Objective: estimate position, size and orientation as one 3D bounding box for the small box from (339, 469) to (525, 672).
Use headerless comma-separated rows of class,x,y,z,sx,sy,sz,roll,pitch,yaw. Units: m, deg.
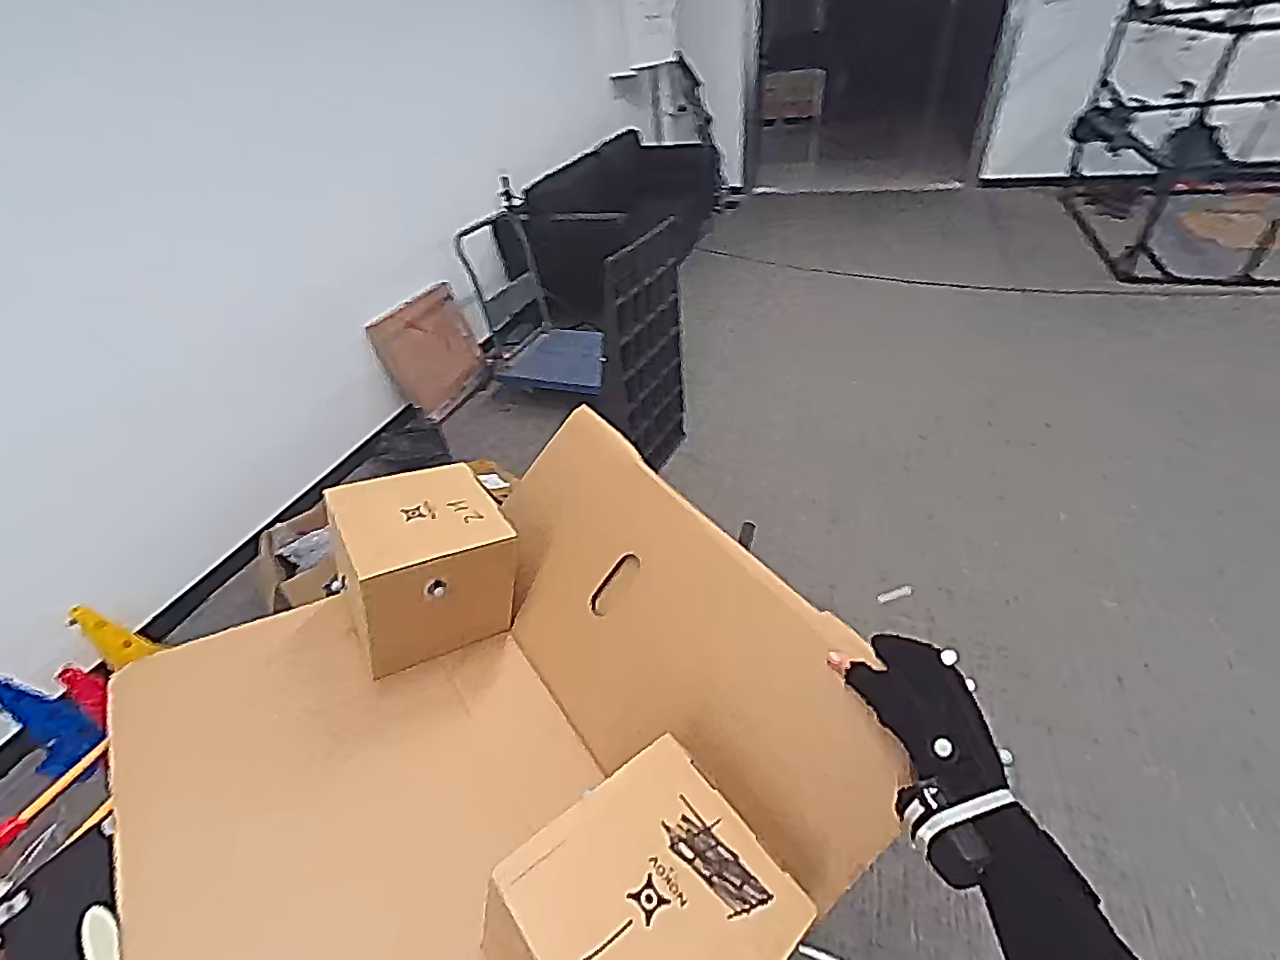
small box,-0.262,0.111,0.688,0.179,0.176,0.168,-13,42,-33
